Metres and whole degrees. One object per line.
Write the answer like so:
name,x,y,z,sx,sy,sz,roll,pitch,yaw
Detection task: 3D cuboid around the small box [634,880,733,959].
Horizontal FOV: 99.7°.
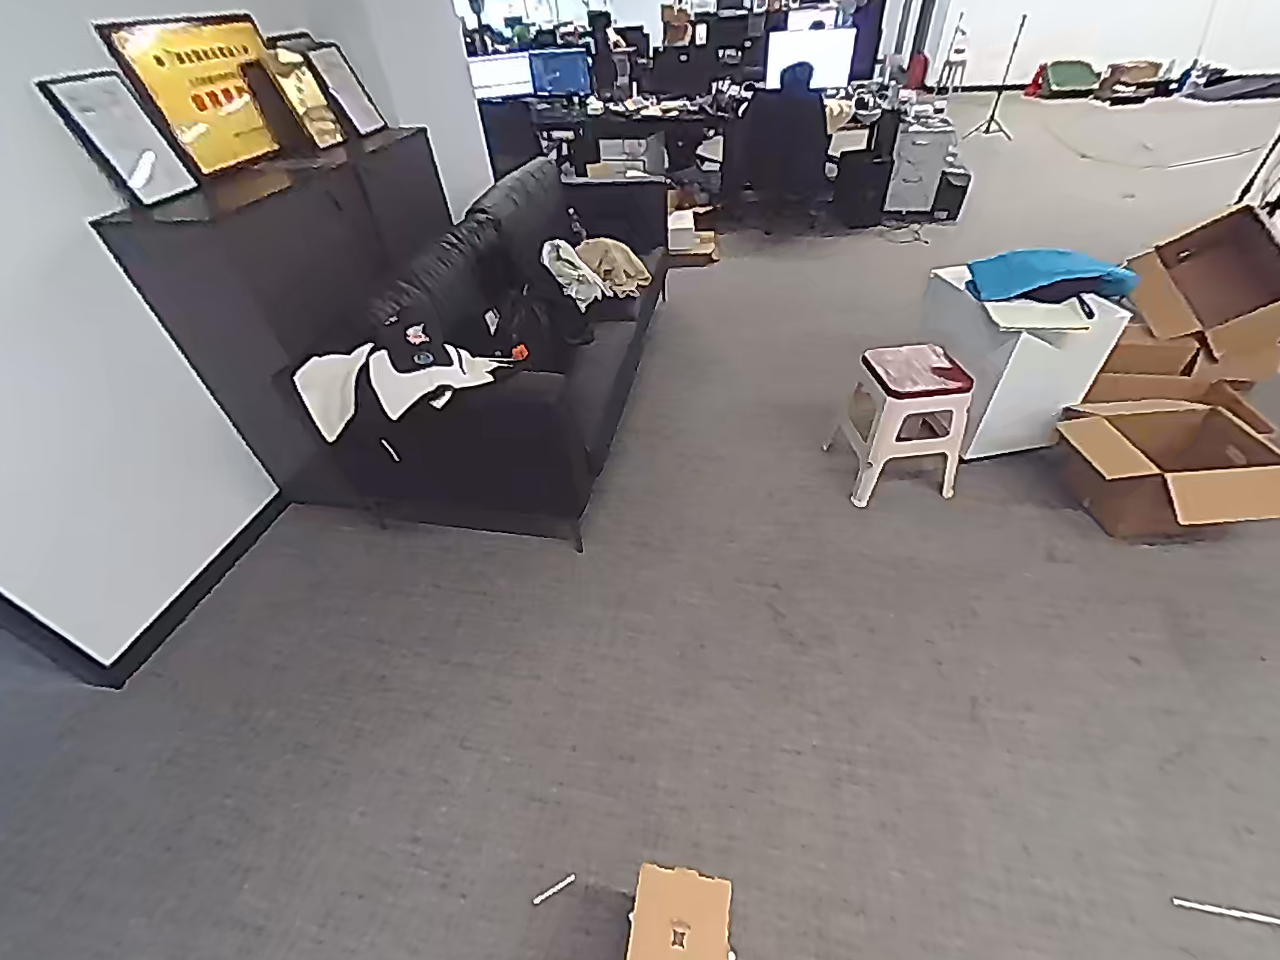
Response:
small box,0.088,0.930,1.073,0.179,0.176,0.168,5,43,11
